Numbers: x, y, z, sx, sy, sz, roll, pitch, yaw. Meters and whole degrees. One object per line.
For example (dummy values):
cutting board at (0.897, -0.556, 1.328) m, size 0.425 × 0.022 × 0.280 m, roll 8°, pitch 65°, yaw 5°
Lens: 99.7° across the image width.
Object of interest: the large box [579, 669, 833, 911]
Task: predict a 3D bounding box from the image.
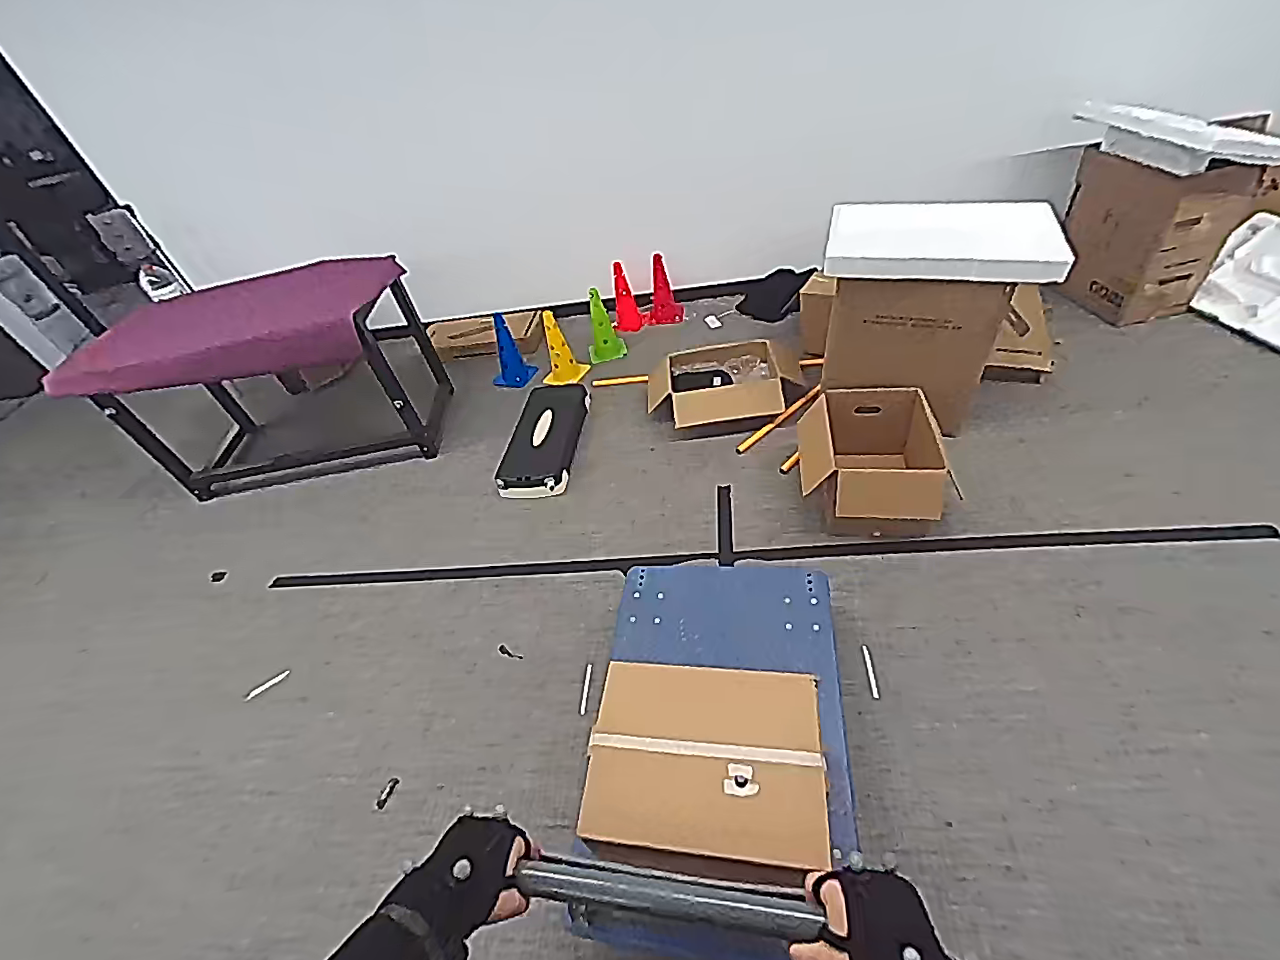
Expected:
large box at (0.131, 0.590, 1.043) m, size 0.408 × 0.320 × 0.320 m, roll 0°, pitch 45°, yaw 11°
